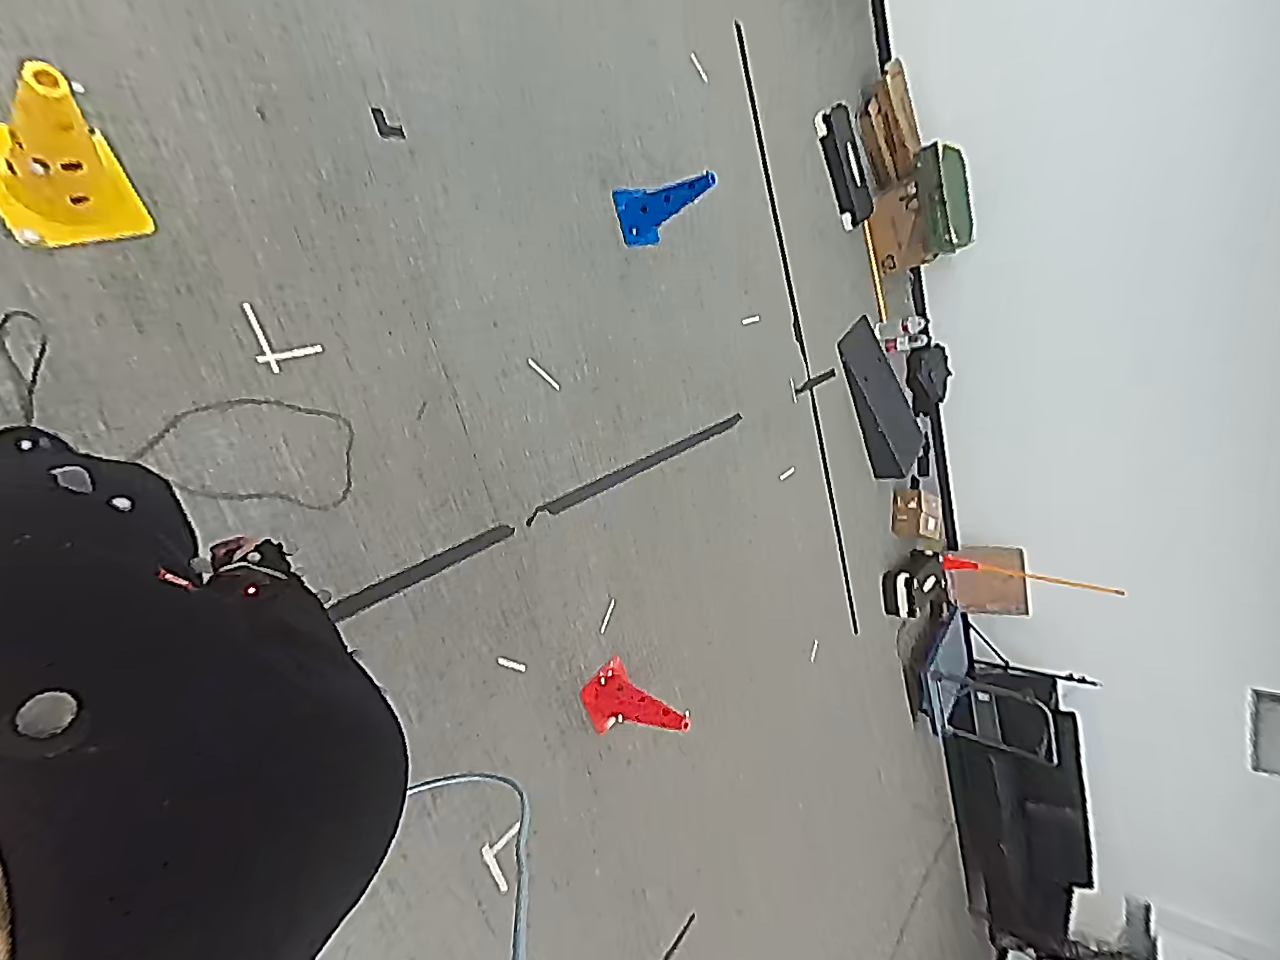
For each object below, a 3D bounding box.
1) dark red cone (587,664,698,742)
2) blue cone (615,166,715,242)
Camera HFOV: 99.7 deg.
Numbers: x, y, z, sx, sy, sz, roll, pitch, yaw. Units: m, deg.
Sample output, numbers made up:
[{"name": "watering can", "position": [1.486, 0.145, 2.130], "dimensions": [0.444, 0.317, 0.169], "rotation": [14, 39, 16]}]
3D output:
[{"name": "dark red cone", "position": [0.028, 0.759, 1.740], "dimensions": [0.202, 0.394, 0.201], "rotation": [-37, 114, -40]}, {"name": "blue cone", "position": [0.107, -0.993, 1.897], "dimensions": [0.193, 0.380, 0.192], "rotation": [-27, 107, -43]}]
